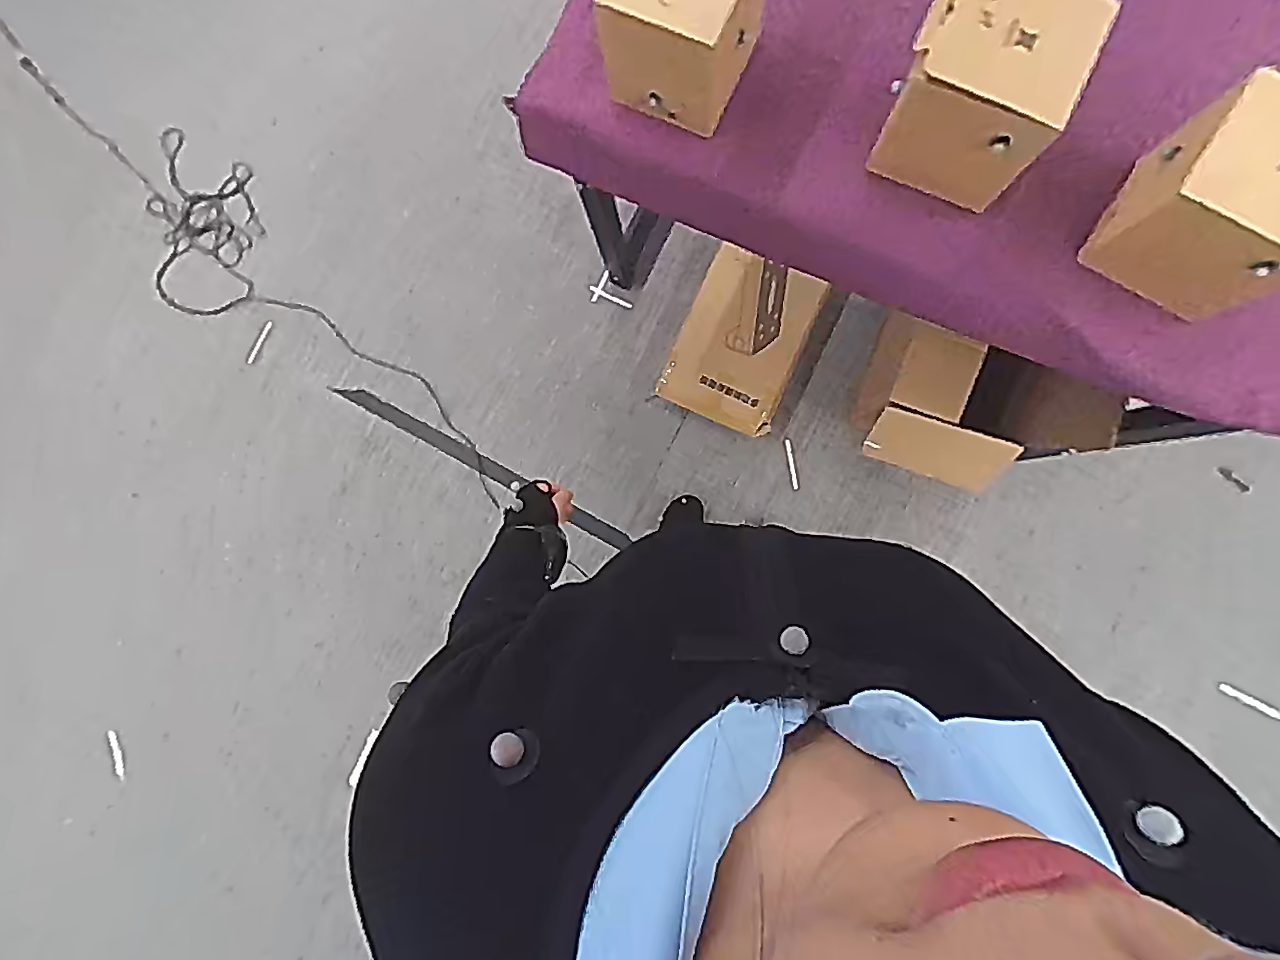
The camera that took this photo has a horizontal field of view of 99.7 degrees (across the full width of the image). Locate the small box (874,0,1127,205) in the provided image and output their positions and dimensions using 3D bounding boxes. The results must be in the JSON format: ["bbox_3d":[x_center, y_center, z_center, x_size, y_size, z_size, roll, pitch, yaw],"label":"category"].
[{"bbox_3d":[0.434,-0.485,0.683,0.179,0.176,0.168,25,88,6],"label":"small box"}]

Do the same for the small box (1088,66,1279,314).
[{"bbox_3d":[0.709,-0.328,0.651,0.179,0.176,0.168,33,91,6],"label":"small box"}]
